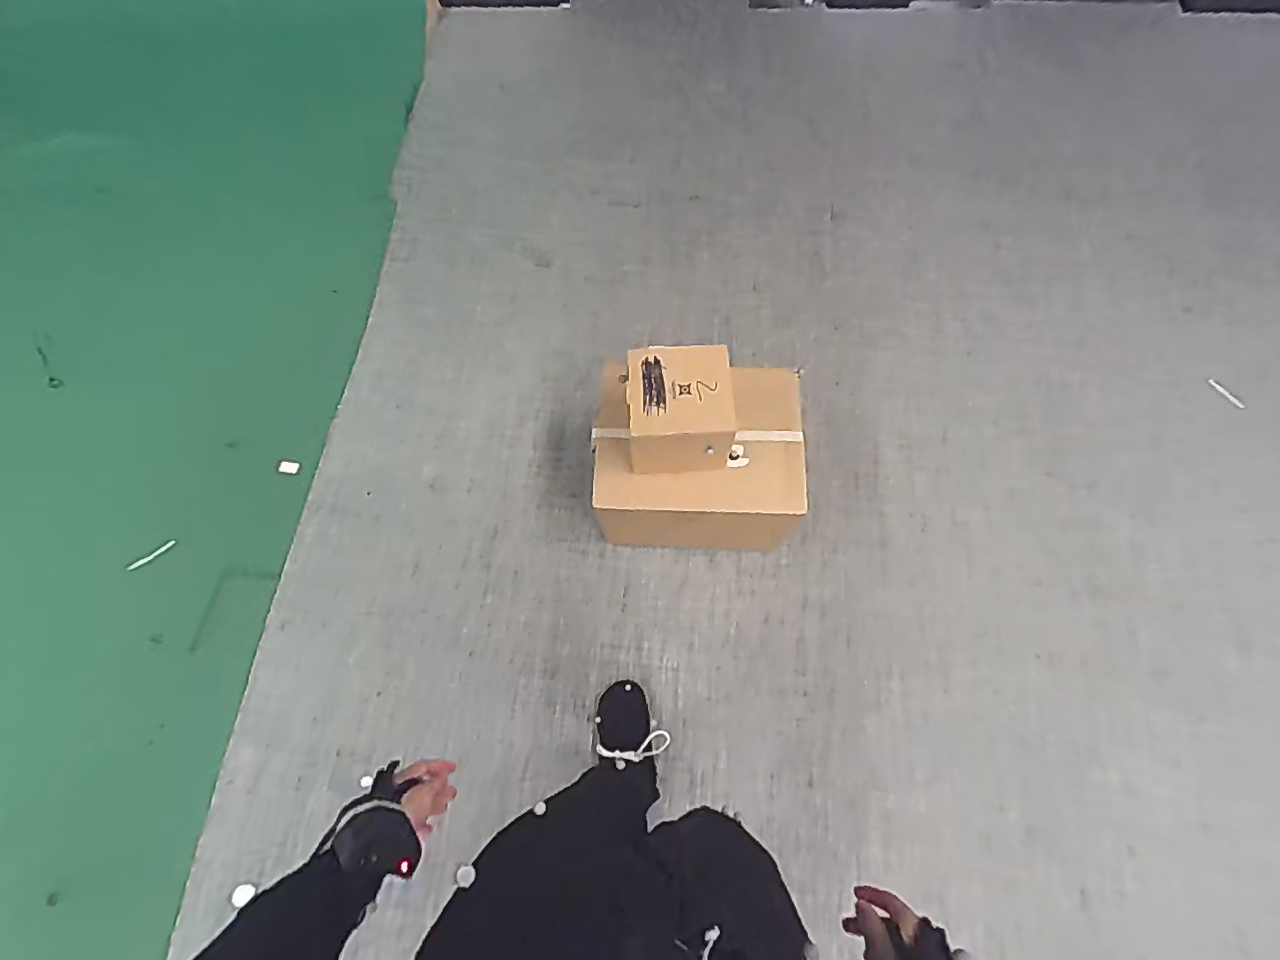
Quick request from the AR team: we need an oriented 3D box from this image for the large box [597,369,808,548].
[{"bbox_3d":[0.120,-0.032,1.201,0.408,0.320,0.320,1,71,2],"label":"large box"}]
